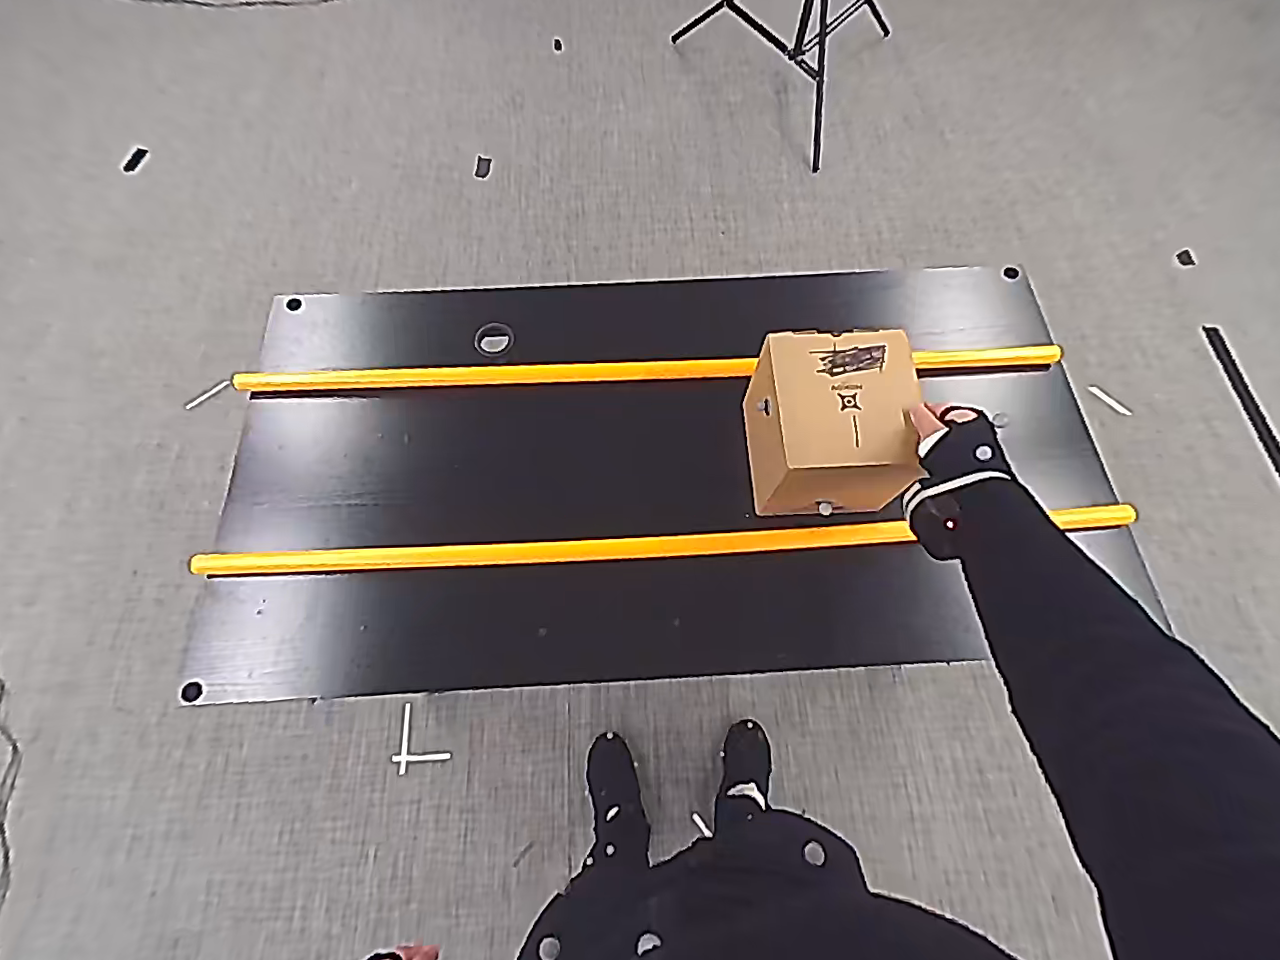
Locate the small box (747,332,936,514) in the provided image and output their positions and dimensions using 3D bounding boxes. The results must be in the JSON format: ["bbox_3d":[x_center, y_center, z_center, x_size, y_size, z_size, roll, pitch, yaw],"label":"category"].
[{"bbox_3d":[0.237,-0.066,0.686,0.168,0.176,0.179,-2,69,0],"label":"small box"}]
